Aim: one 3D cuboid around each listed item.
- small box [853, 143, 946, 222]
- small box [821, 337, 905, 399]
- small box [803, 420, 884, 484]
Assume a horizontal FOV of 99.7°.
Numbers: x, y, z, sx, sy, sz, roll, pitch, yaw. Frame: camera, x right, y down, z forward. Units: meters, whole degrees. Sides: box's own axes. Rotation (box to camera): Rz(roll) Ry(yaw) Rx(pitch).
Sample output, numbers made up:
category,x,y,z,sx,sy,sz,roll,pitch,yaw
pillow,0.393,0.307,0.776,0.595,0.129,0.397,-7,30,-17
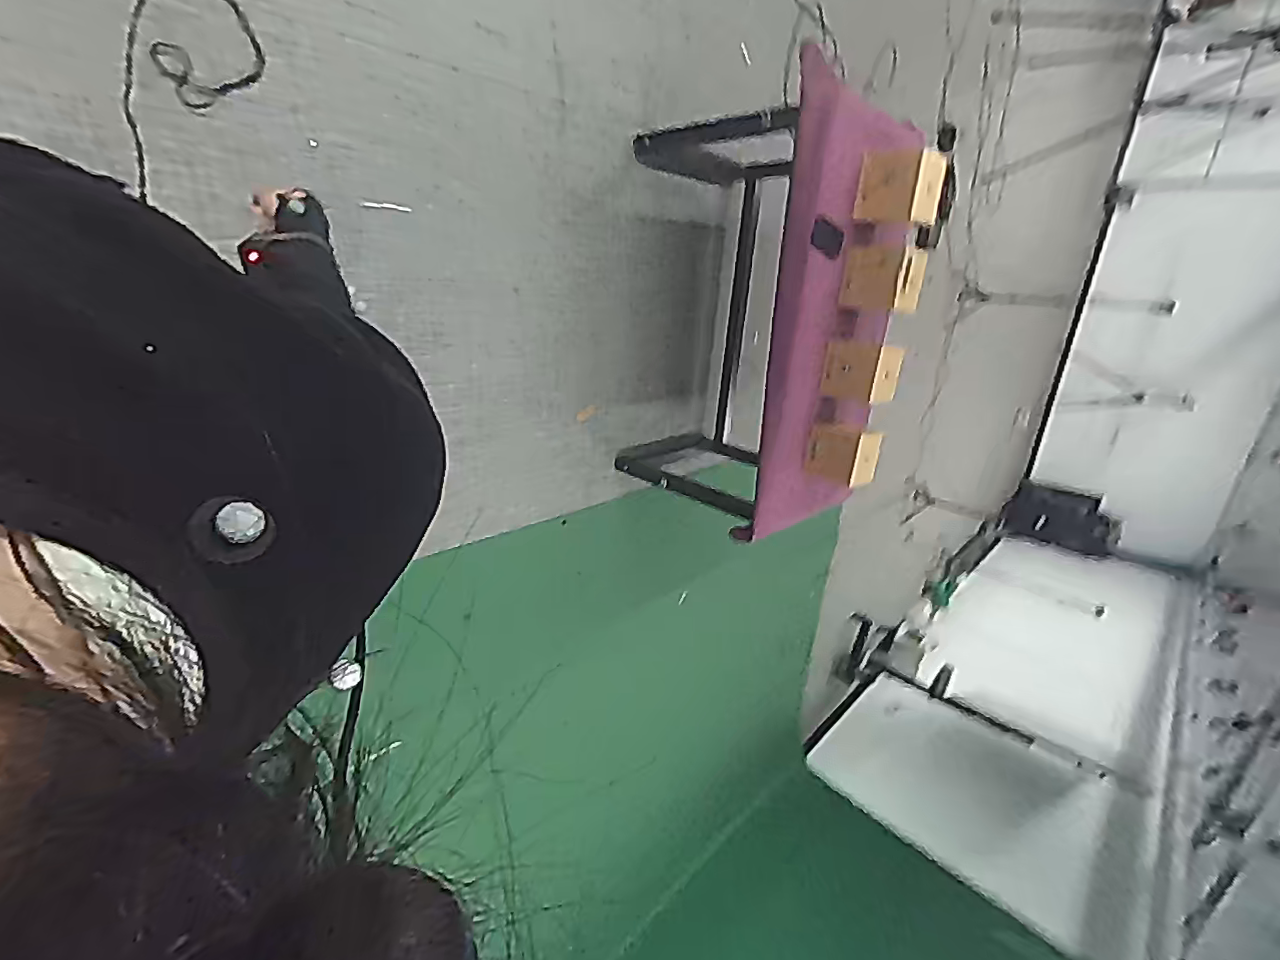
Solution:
category,x,y,z,sx,sy,sz,roll,pitch,yaw
small box,0.715,-0.817,1.500,0.179,0.176,0.168,-19,119,-42
small box,0.679,-0.343,1.660,0.179,0.176,0.168,-11,114,-44
small box,0.653,-0.096,1.738,0.179,0.176,0.168,-9,111,-44
